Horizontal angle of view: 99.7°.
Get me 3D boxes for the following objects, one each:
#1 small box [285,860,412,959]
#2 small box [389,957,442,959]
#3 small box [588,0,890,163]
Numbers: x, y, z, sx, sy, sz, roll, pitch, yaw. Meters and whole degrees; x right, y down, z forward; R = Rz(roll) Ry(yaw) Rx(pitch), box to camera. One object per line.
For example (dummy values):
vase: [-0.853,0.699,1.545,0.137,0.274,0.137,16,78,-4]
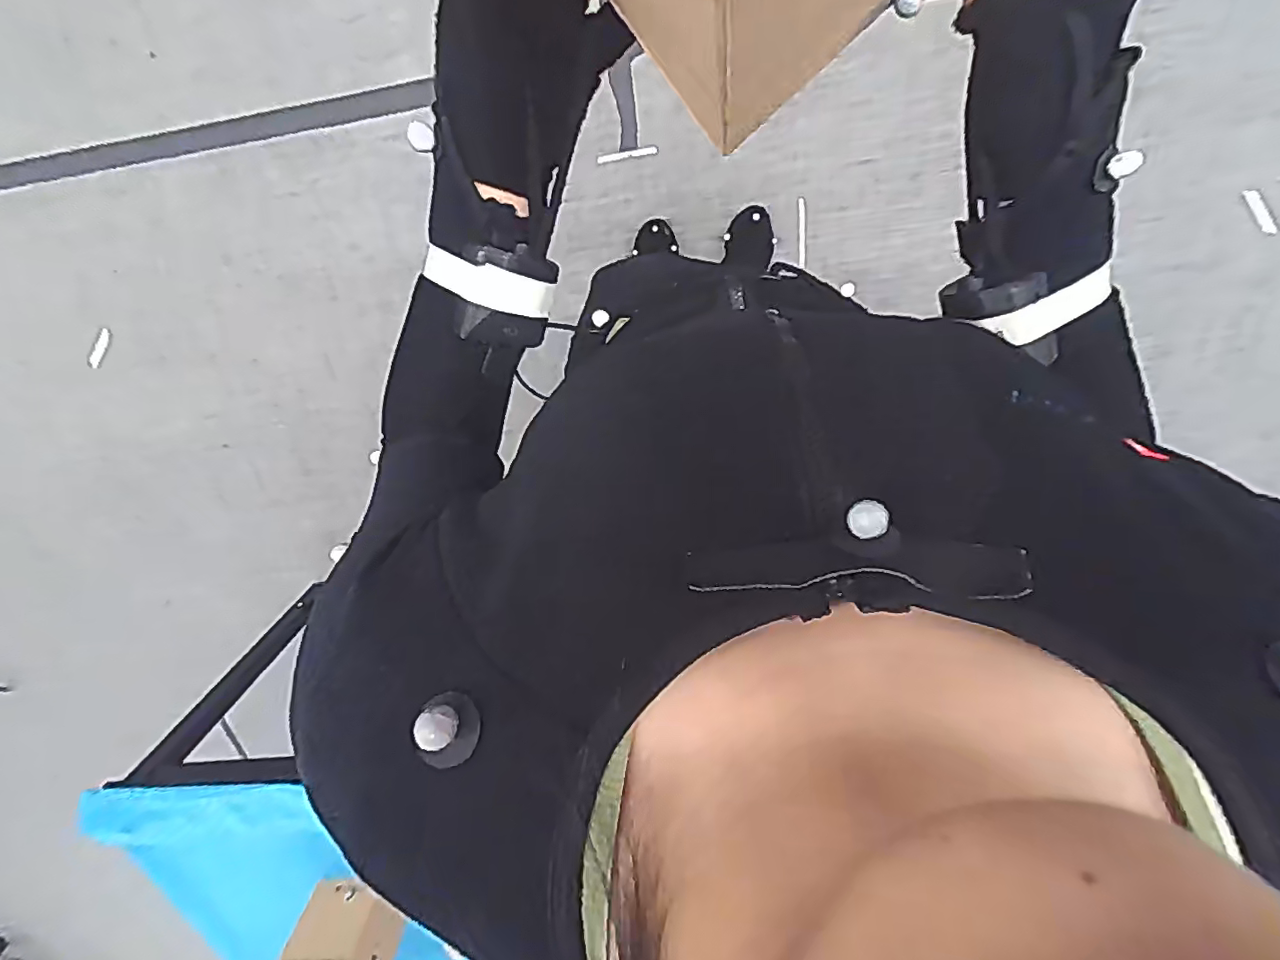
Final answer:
small box: [-0.655,1.012,1.243,0.168,0.176,0.179,-7,116,7]
small box: [-0.624,1.414,1.442,0.179,0.176,0.168,-5,117,4]
small box: [0.033,-0.263,0.188,0.168,0.176,0.179,-35,98,18]
